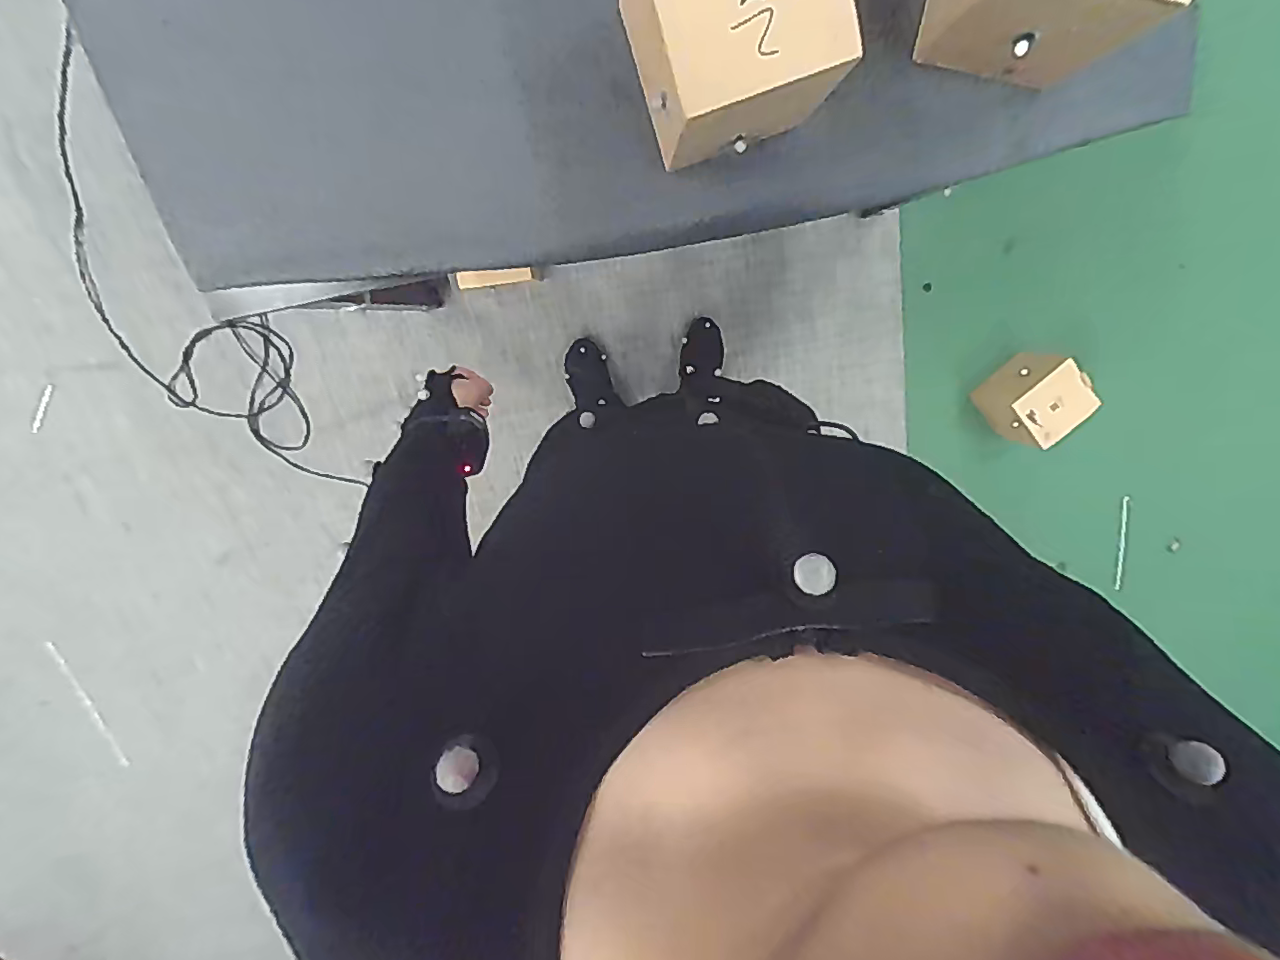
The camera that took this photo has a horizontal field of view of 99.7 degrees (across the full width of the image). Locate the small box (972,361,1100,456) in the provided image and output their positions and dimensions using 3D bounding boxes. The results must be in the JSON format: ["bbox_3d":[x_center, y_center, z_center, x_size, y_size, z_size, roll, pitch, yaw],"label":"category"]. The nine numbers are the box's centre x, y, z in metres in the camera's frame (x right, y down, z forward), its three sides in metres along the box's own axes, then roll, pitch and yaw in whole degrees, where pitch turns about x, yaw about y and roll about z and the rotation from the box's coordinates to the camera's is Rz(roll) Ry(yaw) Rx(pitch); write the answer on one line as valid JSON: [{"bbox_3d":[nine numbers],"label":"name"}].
[{"bbox_3d":[1.028,-0.195,1.418,0.179,0.176,0.168,-43,104,8],"label":"small box"}]

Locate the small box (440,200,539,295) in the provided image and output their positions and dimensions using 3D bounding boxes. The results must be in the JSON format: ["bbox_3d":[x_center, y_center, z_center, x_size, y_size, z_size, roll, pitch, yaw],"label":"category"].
[{"bbox_3d":[-0.335,-0.524,1.242,0.168,0.176,0.179,-8,106,-1],"label":"small box"}]

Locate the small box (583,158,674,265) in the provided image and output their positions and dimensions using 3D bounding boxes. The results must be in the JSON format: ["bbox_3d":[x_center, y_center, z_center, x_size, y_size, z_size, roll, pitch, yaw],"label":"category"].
[{"bbox_3d":[-0.026,-0.601,1.236,0.168,0.176,0.179,-14,106,0],"label":"small box"}]
